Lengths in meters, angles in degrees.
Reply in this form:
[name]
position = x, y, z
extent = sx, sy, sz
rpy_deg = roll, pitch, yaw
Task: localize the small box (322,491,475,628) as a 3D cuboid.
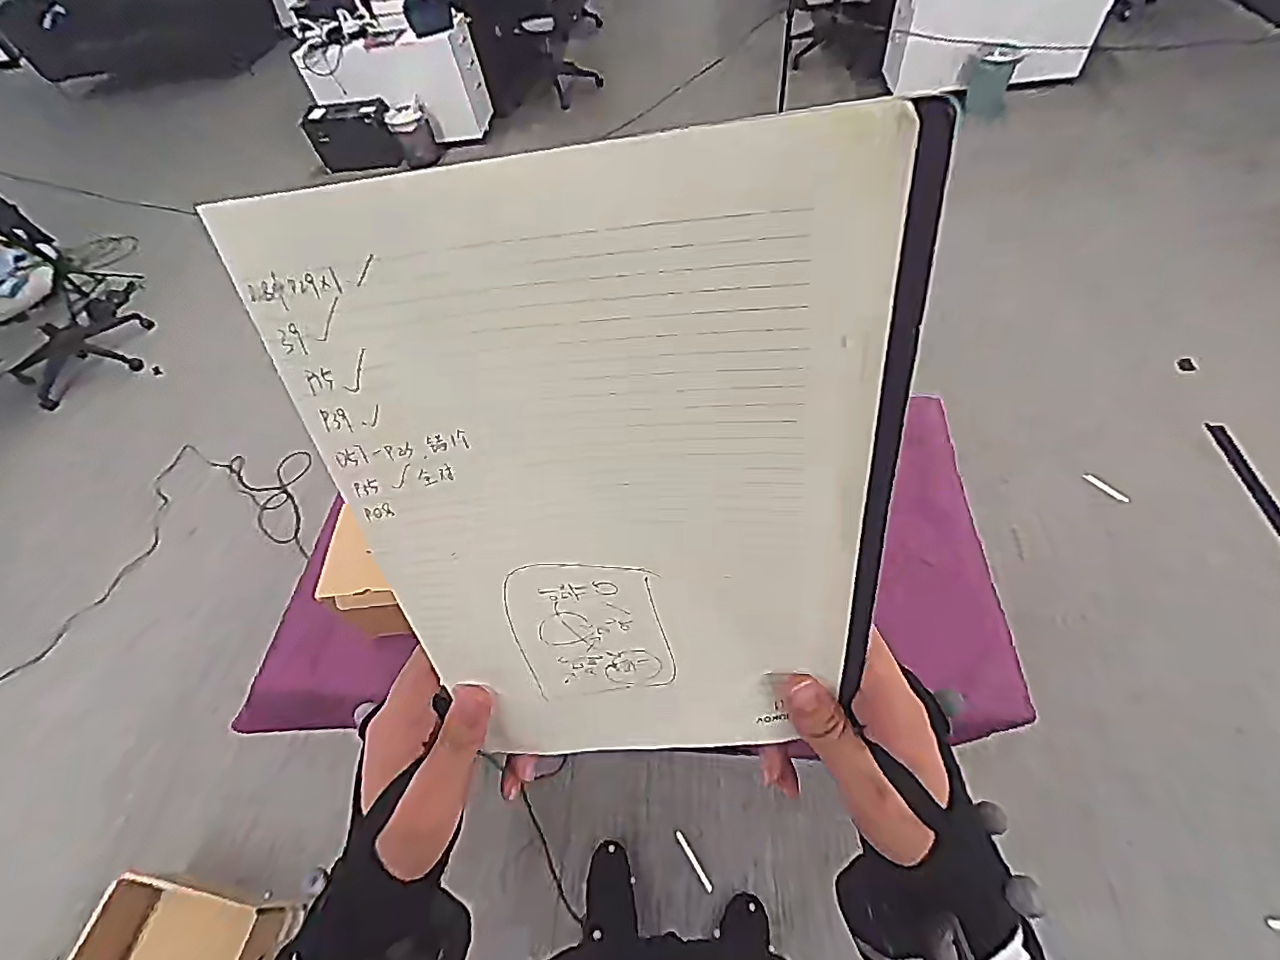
[small box]
position = -0.394, 0.143, 0.918
extent = 0.168, 0.176, 0.179
rpy_deg = -6, 55, 3
